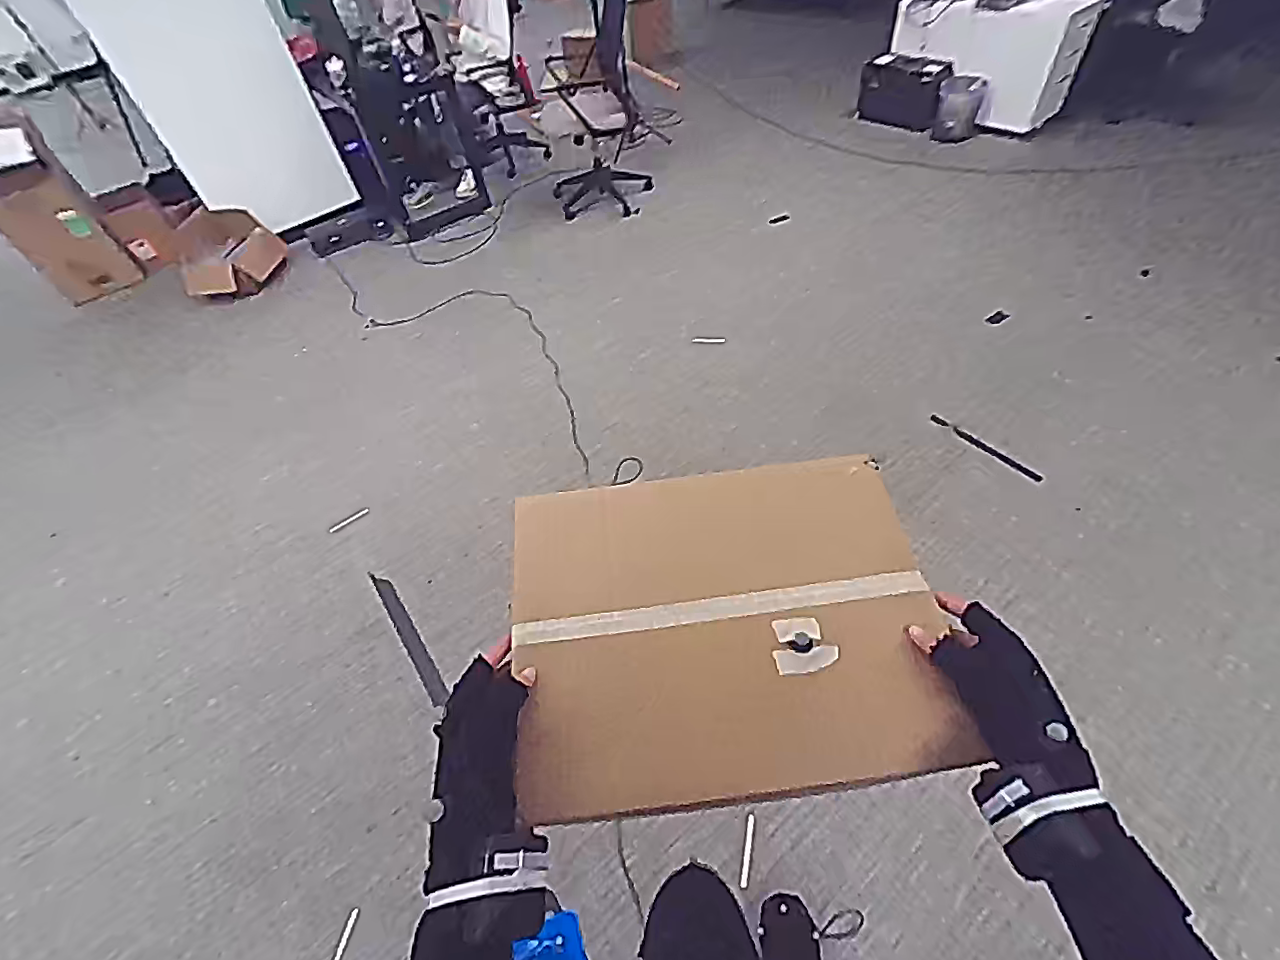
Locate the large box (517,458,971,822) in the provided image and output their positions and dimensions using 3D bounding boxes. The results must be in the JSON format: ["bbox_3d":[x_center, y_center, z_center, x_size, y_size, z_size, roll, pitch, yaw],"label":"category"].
[{"bbox_3d":[0.081,0.209,0.667,0.408,0.320,0.320,-8,57,-1],"label":"large box"}]

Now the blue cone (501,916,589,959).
[{"bbox_3d":[-0.209,0.932,0.985,0.193,0.380,0.192,-18,51,-5],"label":"blue cone"}]
